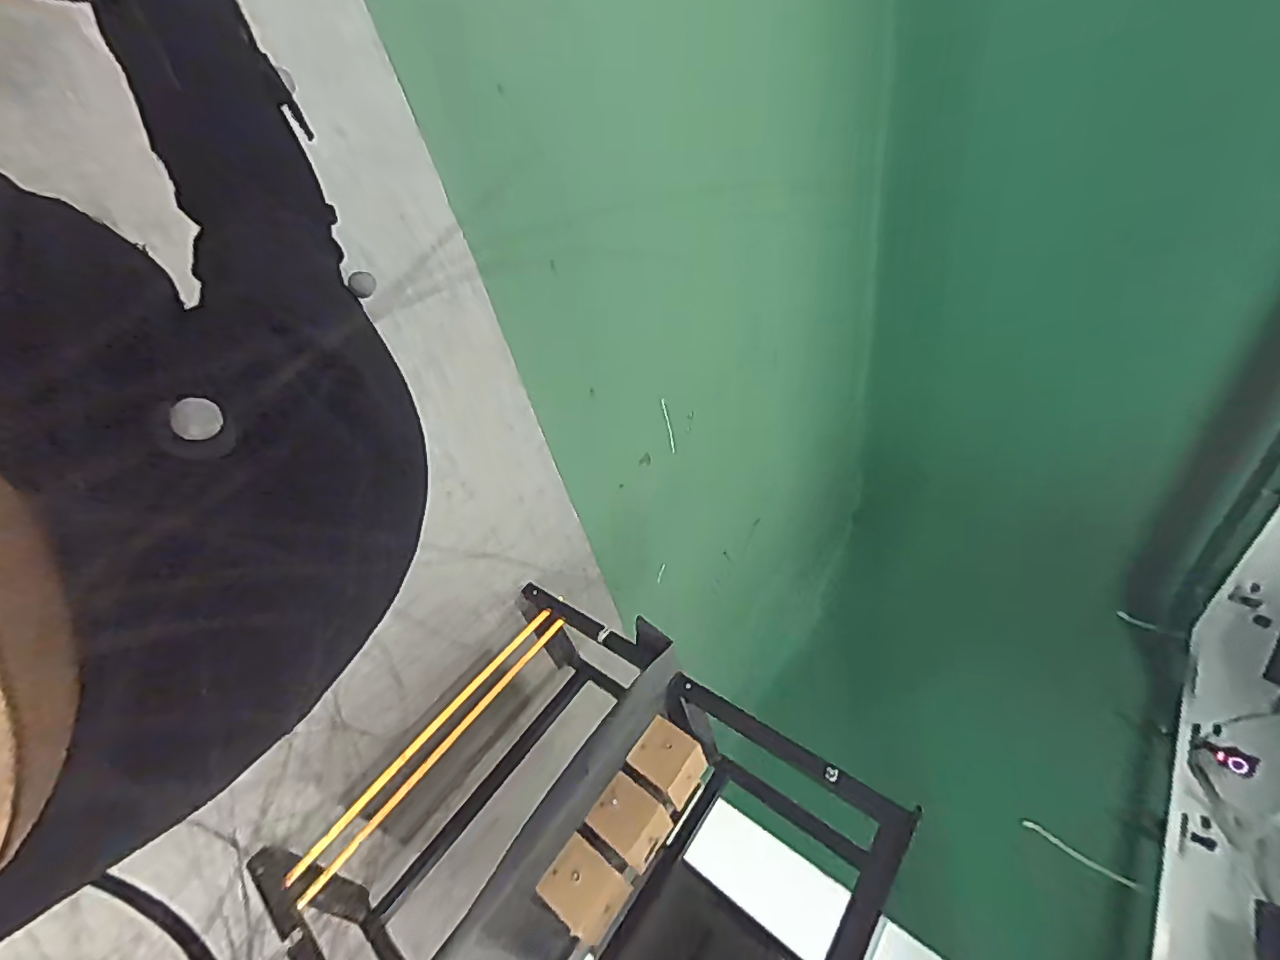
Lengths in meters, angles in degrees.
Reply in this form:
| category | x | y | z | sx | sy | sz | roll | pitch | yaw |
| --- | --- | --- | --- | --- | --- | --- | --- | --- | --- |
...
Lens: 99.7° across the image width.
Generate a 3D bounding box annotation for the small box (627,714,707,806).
| category | x | y | z | sx | sy | sz | roll | pitch | yaw |
| --- | --- | --- | --- | --- | --- | --- | --- | --- | --- |
| small box | 0.083 | 0.862 | 1.680 | 0.168 | 0.176 | 0.179 | -45 | 138 | -28 |
